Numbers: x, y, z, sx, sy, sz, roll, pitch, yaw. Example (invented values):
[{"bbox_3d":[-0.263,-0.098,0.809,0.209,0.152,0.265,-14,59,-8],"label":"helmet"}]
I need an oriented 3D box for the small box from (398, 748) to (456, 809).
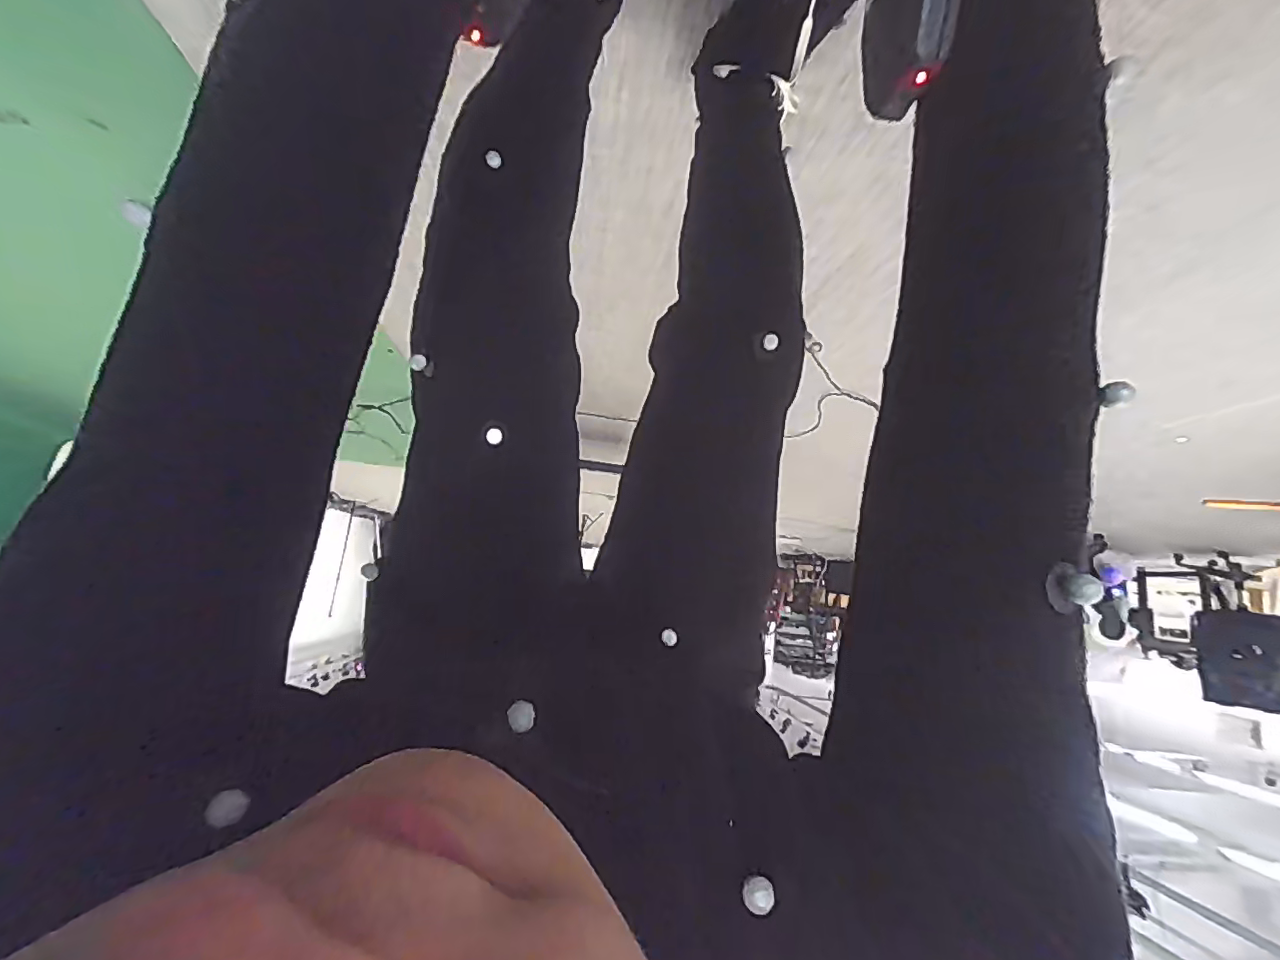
[{"bbox_3d":[-0.842,1.188,2.160,0.179,0.176,0.168,7,170,-7],"label":"small box"}]
